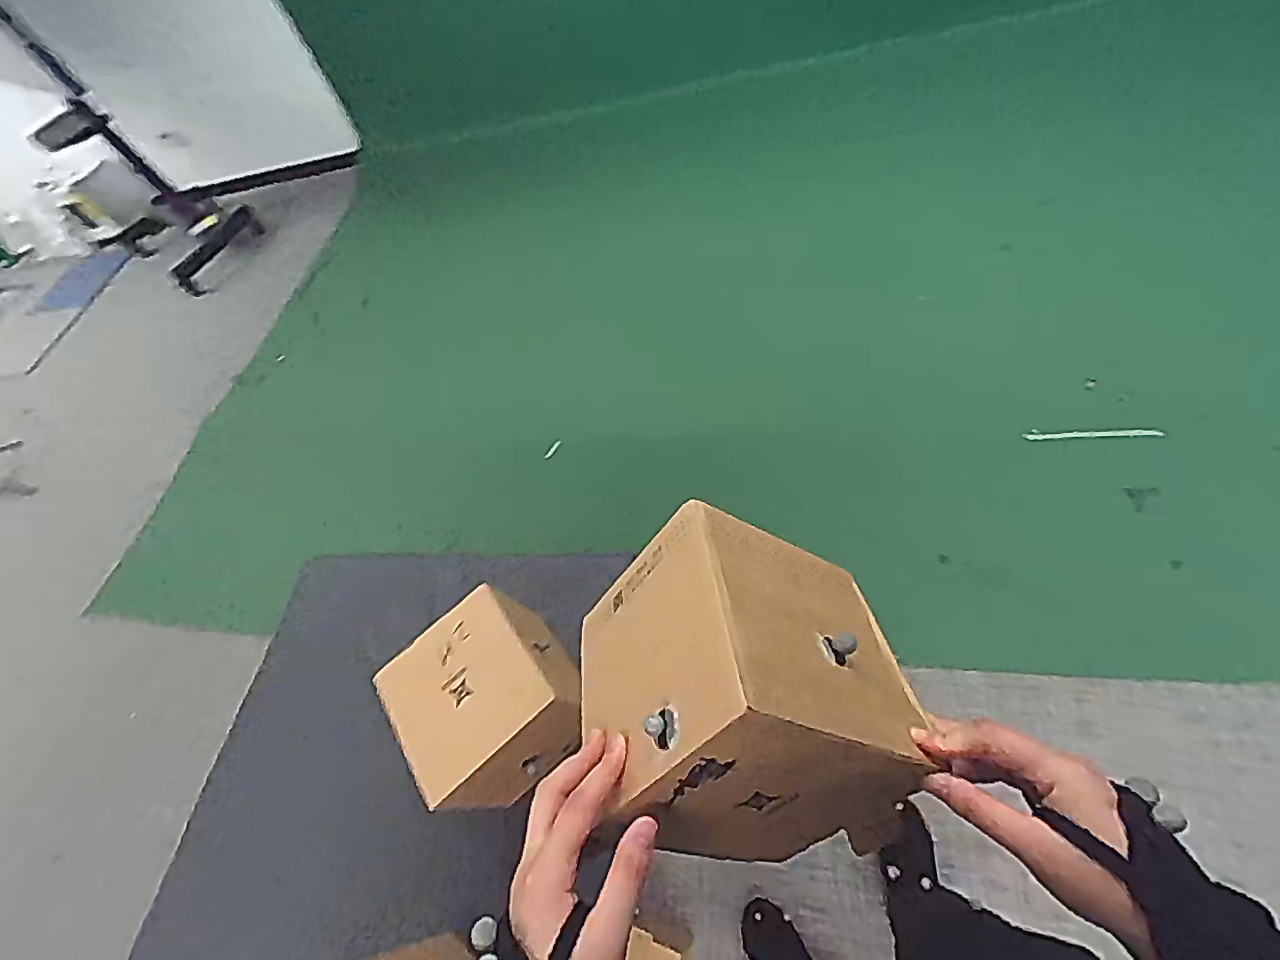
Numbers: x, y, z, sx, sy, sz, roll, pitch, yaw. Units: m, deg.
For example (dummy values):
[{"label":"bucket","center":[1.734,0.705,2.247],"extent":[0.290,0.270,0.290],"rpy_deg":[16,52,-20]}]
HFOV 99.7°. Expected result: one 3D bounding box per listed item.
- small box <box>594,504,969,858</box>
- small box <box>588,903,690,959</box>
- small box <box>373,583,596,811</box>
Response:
[{"label":"small box","center":[0.081,0.145,0.395],"extent":[0.168,0.179,0.176],"rpy_deg":[-51,27,28]},{"label":"small box","center":[-0.009,0.968,1.056],"extent":[0.168,0.176,0.179],"rpy_deg":[10,64,22]},{"label":"small box","center":[-0.174,0.260,0.653],"extent":[0.168,0.176,0.179],"rpy_deg":[-40,57,-8]}]
